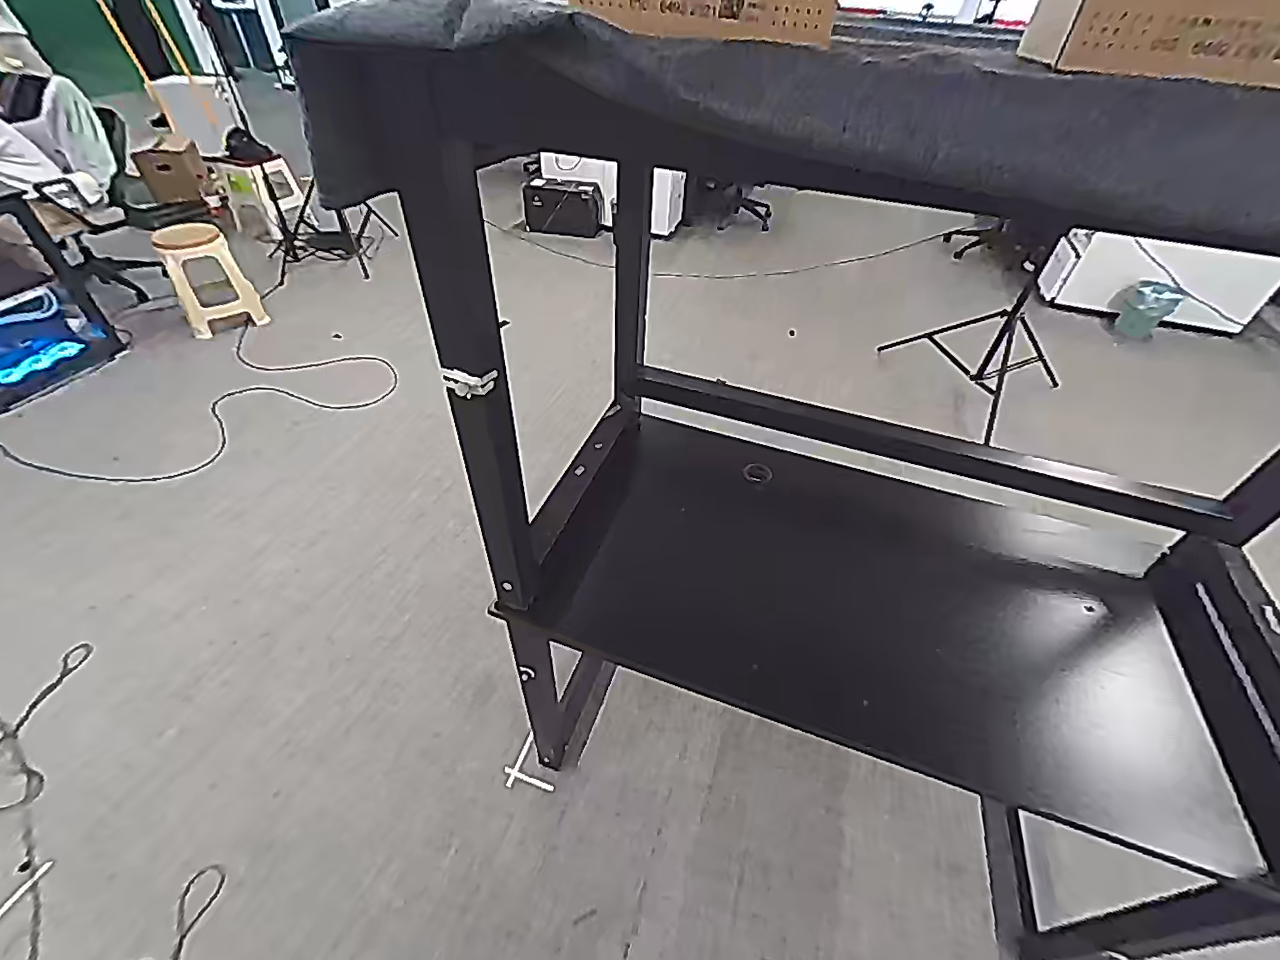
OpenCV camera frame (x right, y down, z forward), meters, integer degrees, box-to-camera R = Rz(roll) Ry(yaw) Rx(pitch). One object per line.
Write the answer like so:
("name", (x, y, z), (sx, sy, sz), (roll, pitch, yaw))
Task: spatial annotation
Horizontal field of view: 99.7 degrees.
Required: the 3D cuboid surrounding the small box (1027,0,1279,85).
("small box", (0.351, -0.333, 0.300), (0.168, 0.176, 0.179), (16, 43, 14))
